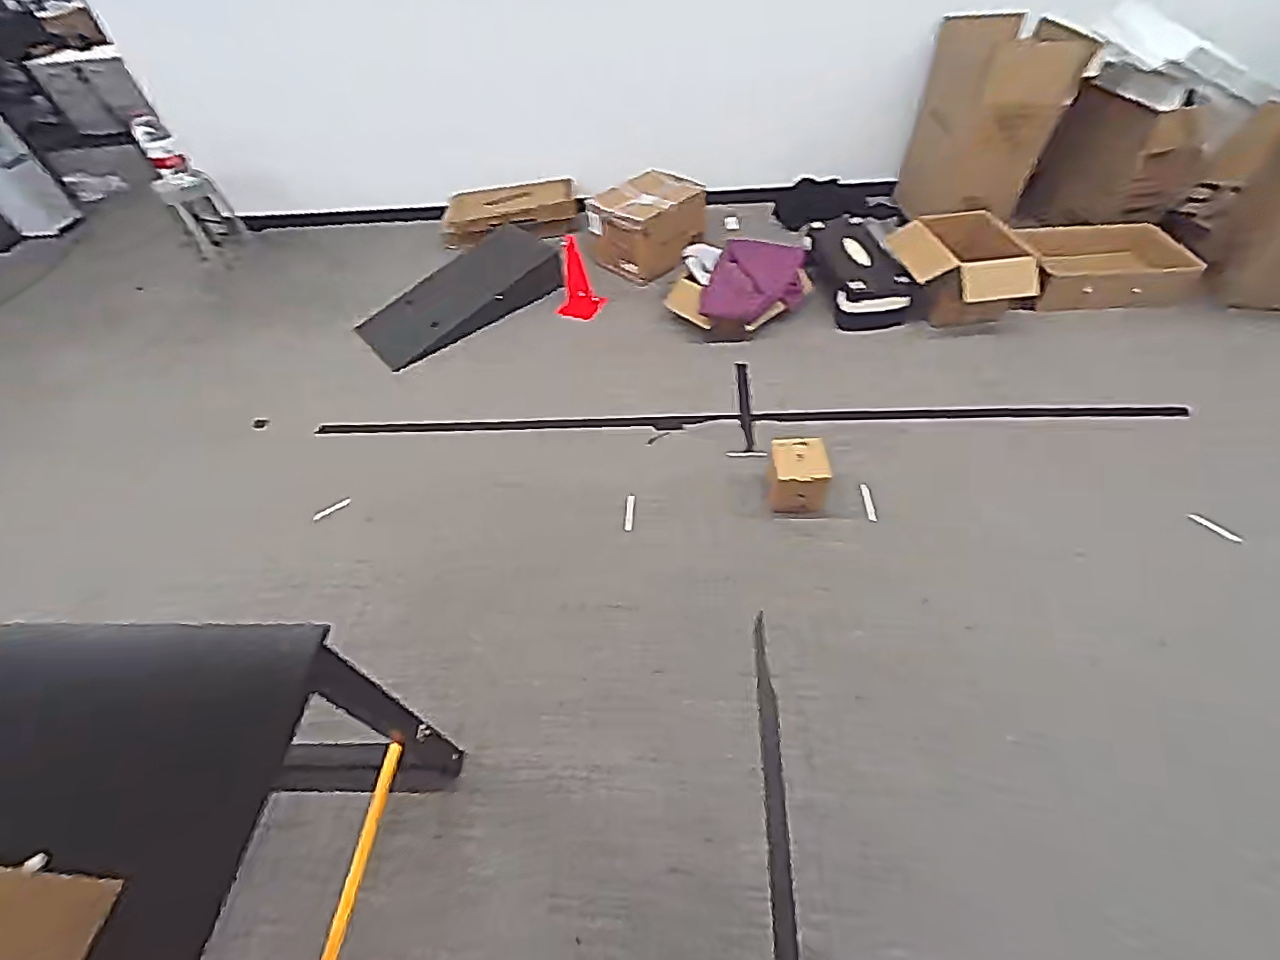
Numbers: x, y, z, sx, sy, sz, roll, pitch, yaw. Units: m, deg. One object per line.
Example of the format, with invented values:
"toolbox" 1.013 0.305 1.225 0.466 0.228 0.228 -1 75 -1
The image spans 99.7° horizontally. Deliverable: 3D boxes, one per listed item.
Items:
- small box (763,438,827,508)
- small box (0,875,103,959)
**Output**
"small box" 0.509 -0.016 1.796 0.168 0.176 0.179 -2 51 3
"small box" -0.705 0.491 0.524 0.168 0.176 0.179 0 49 5
